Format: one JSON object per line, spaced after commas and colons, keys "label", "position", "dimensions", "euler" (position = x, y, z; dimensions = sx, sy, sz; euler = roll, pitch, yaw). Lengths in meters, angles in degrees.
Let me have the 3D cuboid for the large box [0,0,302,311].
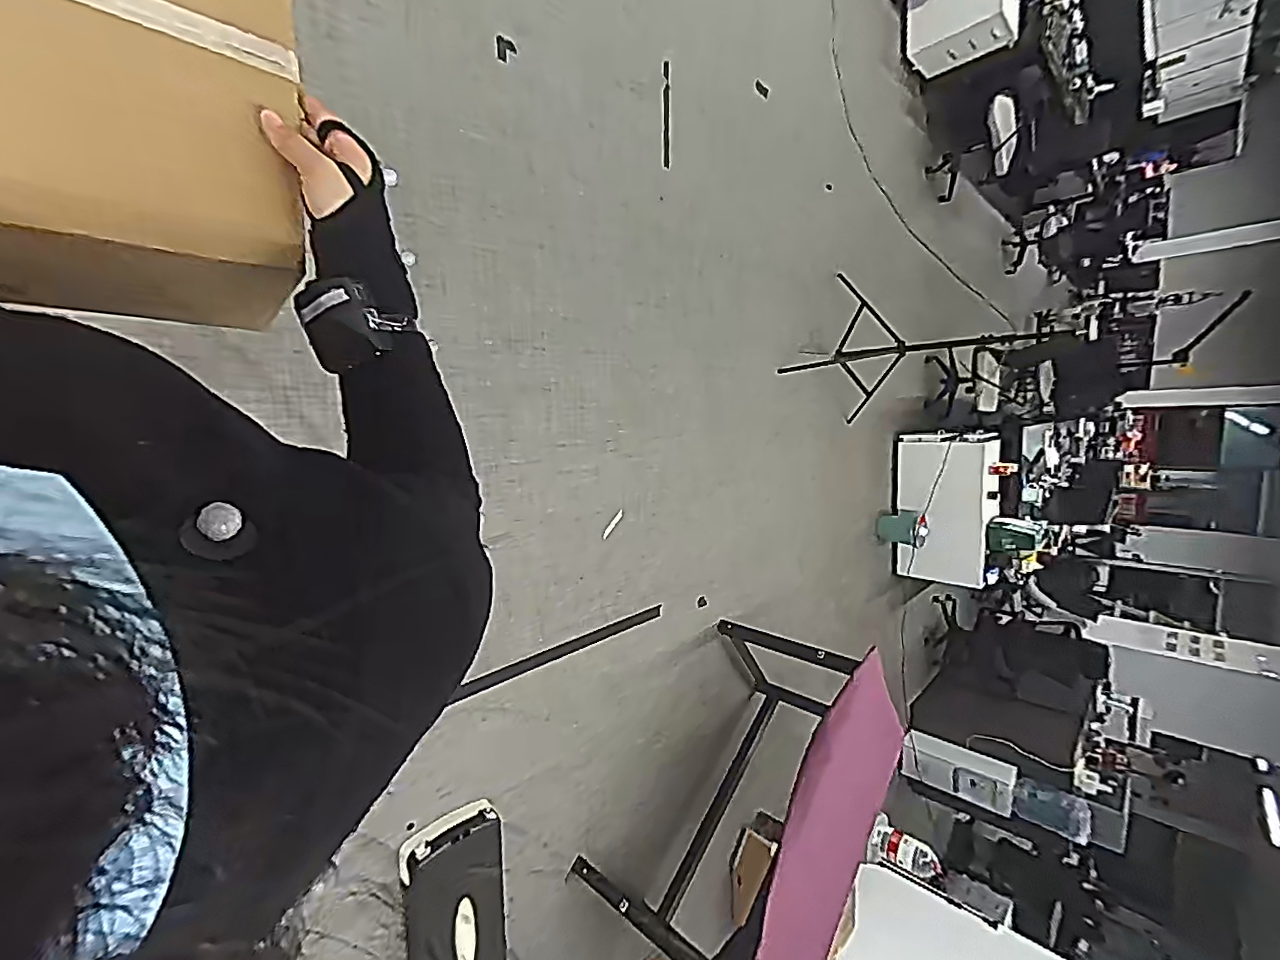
{"label": "large box", "position": [-0.529, -0.335, 0.425], "dimensions": [0.408, 0.320, 0.320], "euler": [-4, 95, -40]}
